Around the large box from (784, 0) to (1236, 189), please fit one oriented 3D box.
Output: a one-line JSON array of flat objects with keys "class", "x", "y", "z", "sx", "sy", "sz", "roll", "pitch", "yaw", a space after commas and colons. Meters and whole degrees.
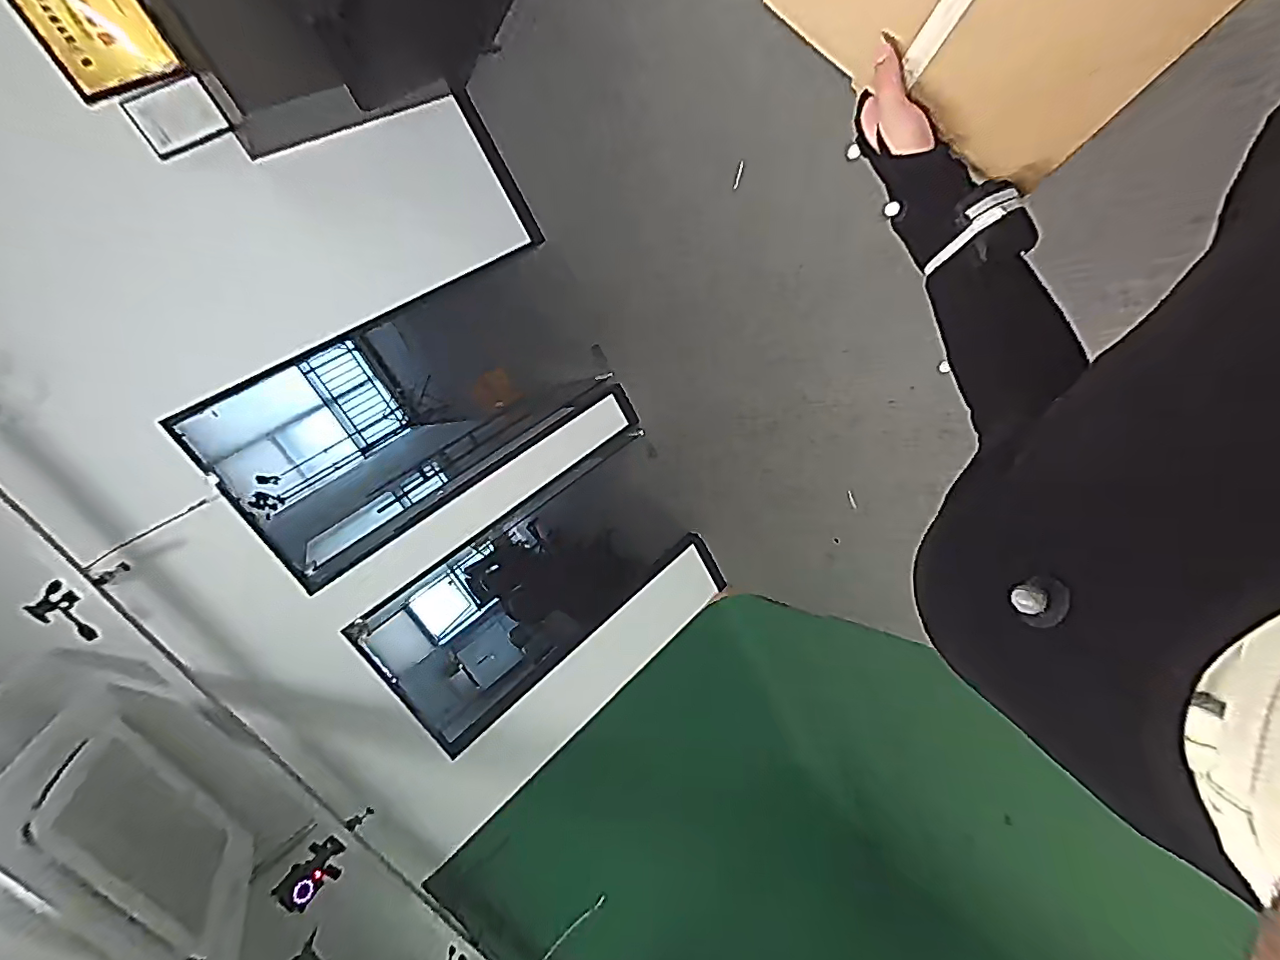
[{"class": "large box", "x": 0.383, "y": -0.535, "z": 0.398, "sx": 0.320, "sy": 0.320, "sz": 0.408, "roll": 41, "pitch": 156, "yaw": 3}]
